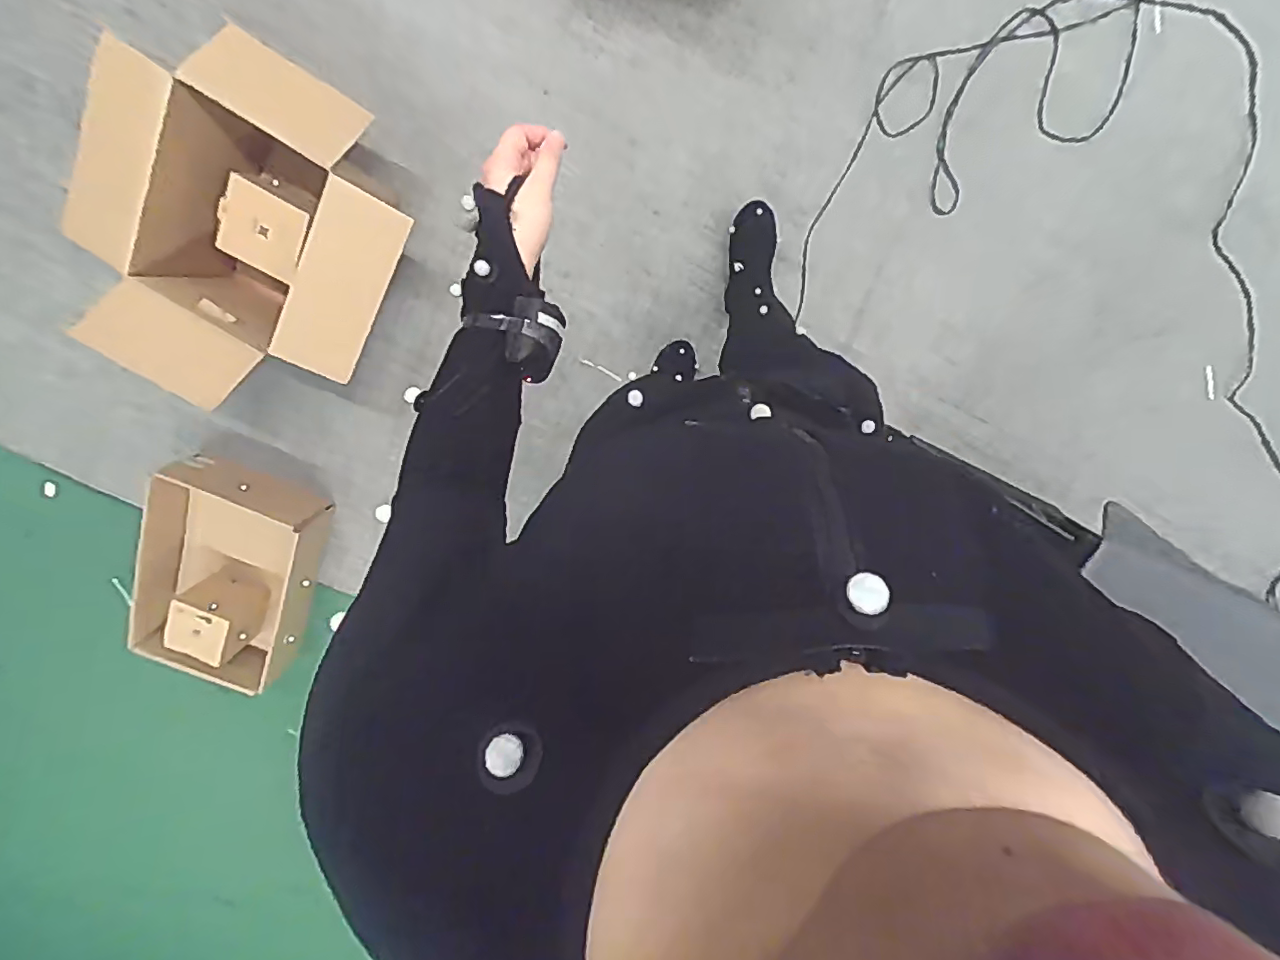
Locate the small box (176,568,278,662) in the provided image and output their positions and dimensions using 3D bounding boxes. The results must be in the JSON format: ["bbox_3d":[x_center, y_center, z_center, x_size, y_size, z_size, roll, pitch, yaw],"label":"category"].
[{"bbox_3d":[-1.217,0.395,1.604,0.168,0.176,0.179,25,109,-4],"label":"small box"}]
